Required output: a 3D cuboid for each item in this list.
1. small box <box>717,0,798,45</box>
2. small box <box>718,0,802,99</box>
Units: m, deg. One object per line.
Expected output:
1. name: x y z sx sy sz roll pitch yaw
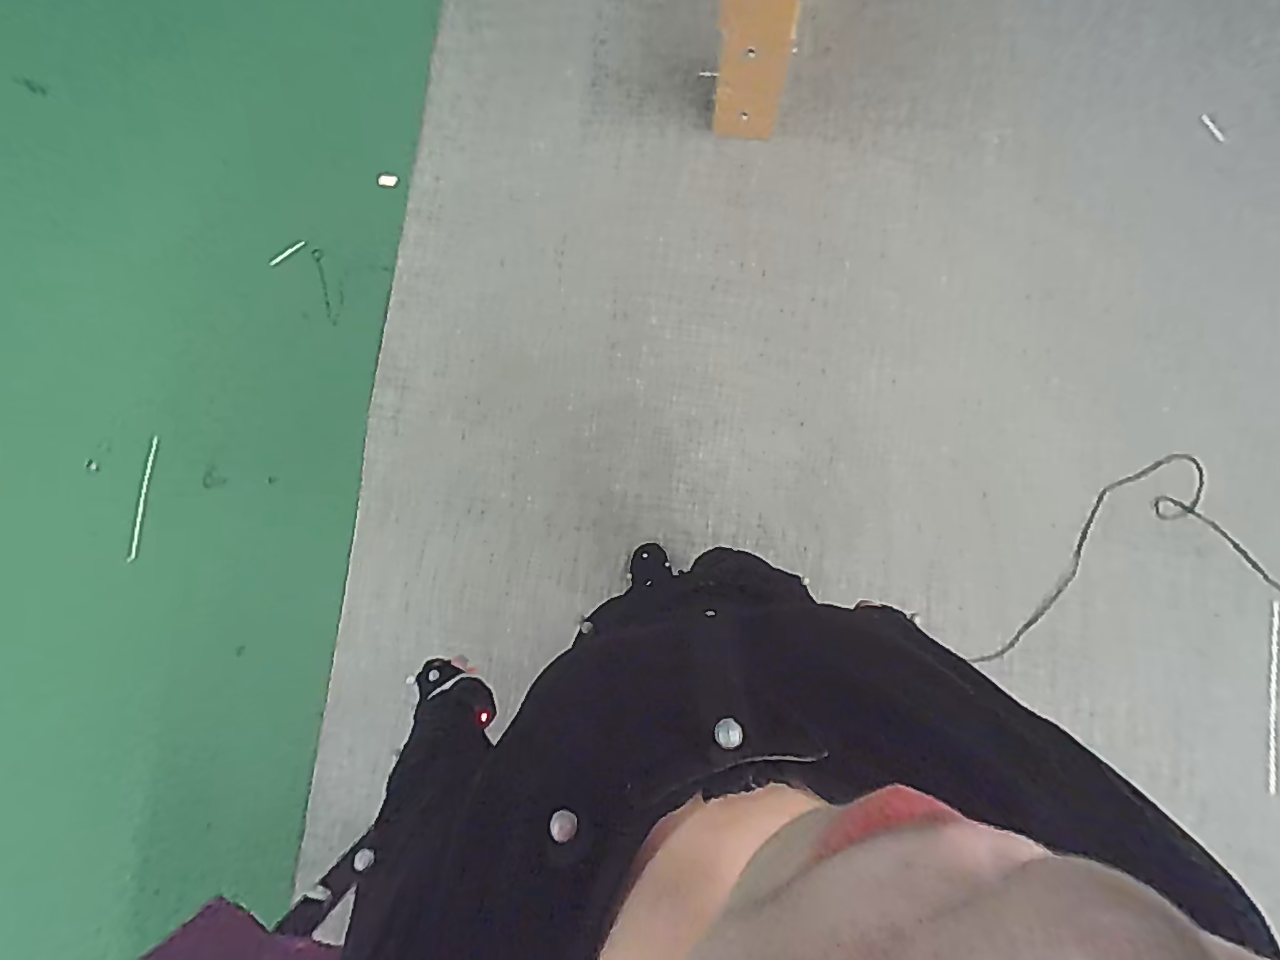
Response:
1. small box: 0.274 -1.121 1.204 0.179 0.176 0.168 13 86 4
2. small box: 0.297 -1.105 1.364 0.179 0.176 0.168 10 86 5
